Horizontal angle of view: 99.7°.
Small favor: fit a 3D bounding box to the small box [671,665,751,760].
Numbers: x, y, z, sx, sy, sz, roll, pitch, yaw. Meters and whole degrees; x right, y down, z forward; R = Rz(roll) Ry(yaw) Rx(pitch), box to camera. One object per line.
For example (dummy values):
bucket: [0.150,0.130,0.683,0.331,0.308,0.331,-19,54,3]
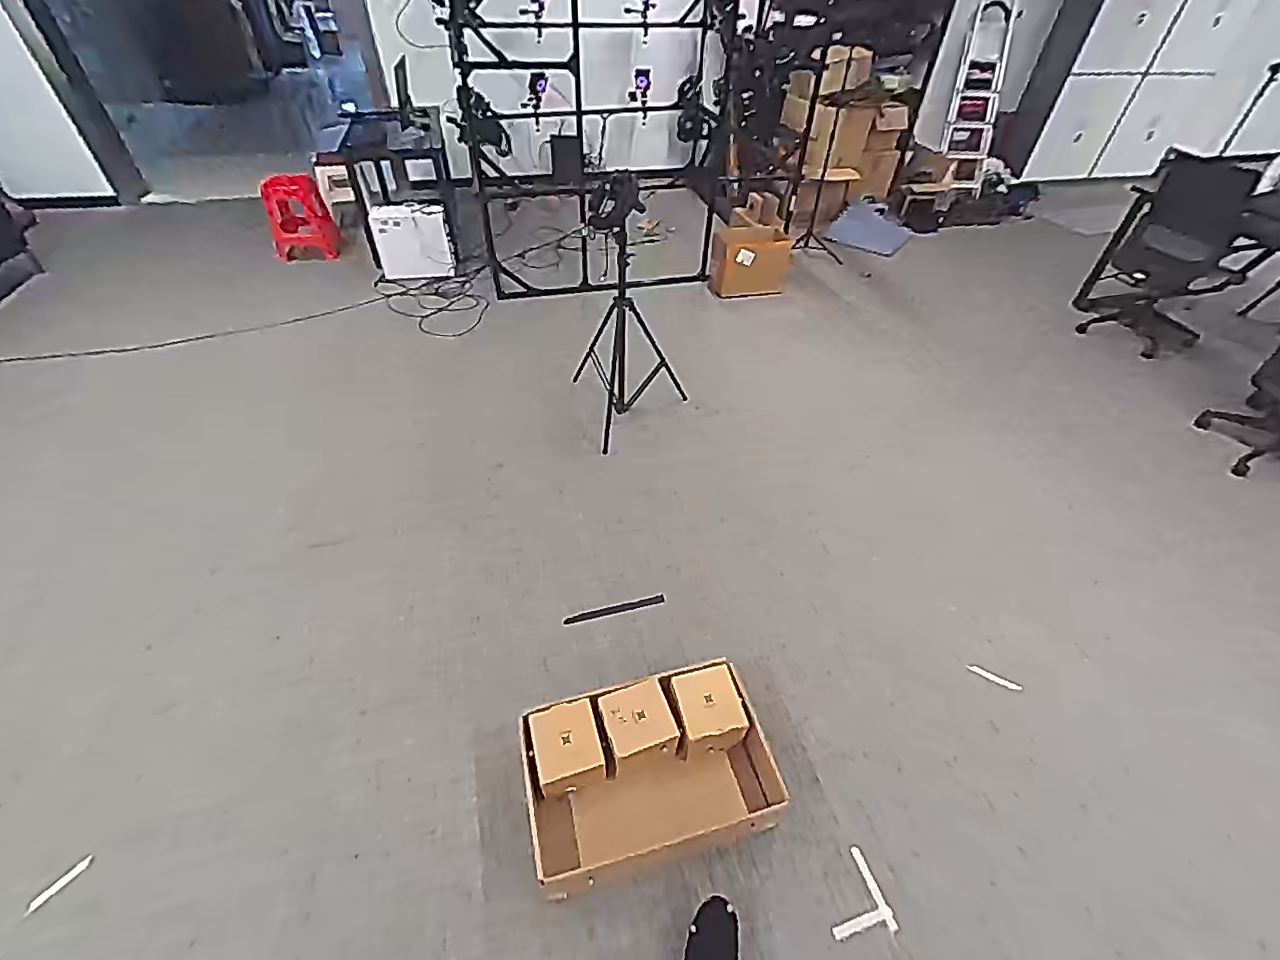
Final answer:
small box: [0.189,0.650,1.513,0.168,0.176,0.179,-11,48,-11]
